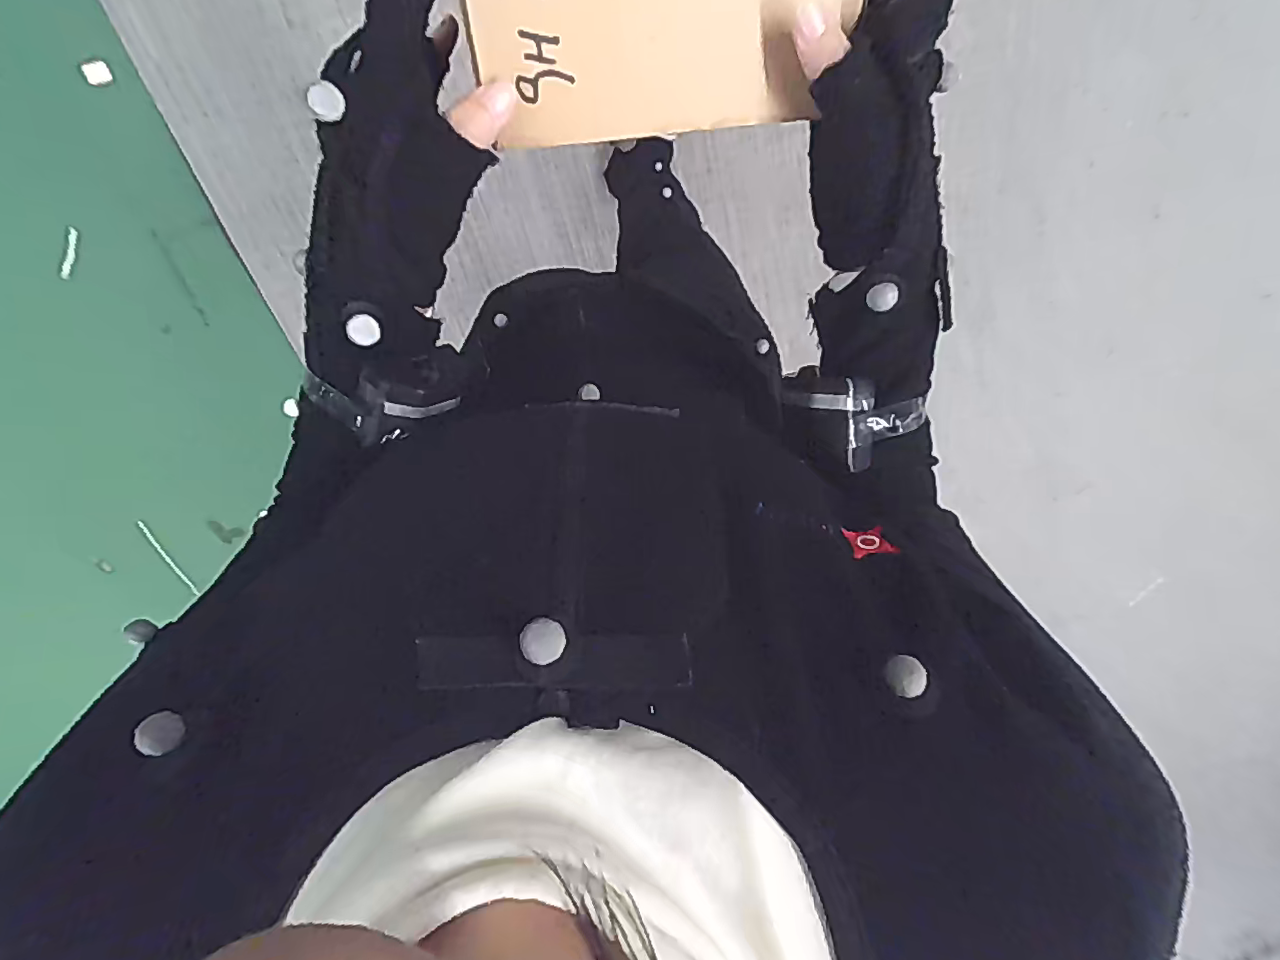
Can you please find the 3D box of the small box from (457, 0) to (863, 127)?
[{"bbox_3d":[-0.004,-0.280,0.266,0.179,0.176,0.168,-11,128,-12],"label":"small box"}]
